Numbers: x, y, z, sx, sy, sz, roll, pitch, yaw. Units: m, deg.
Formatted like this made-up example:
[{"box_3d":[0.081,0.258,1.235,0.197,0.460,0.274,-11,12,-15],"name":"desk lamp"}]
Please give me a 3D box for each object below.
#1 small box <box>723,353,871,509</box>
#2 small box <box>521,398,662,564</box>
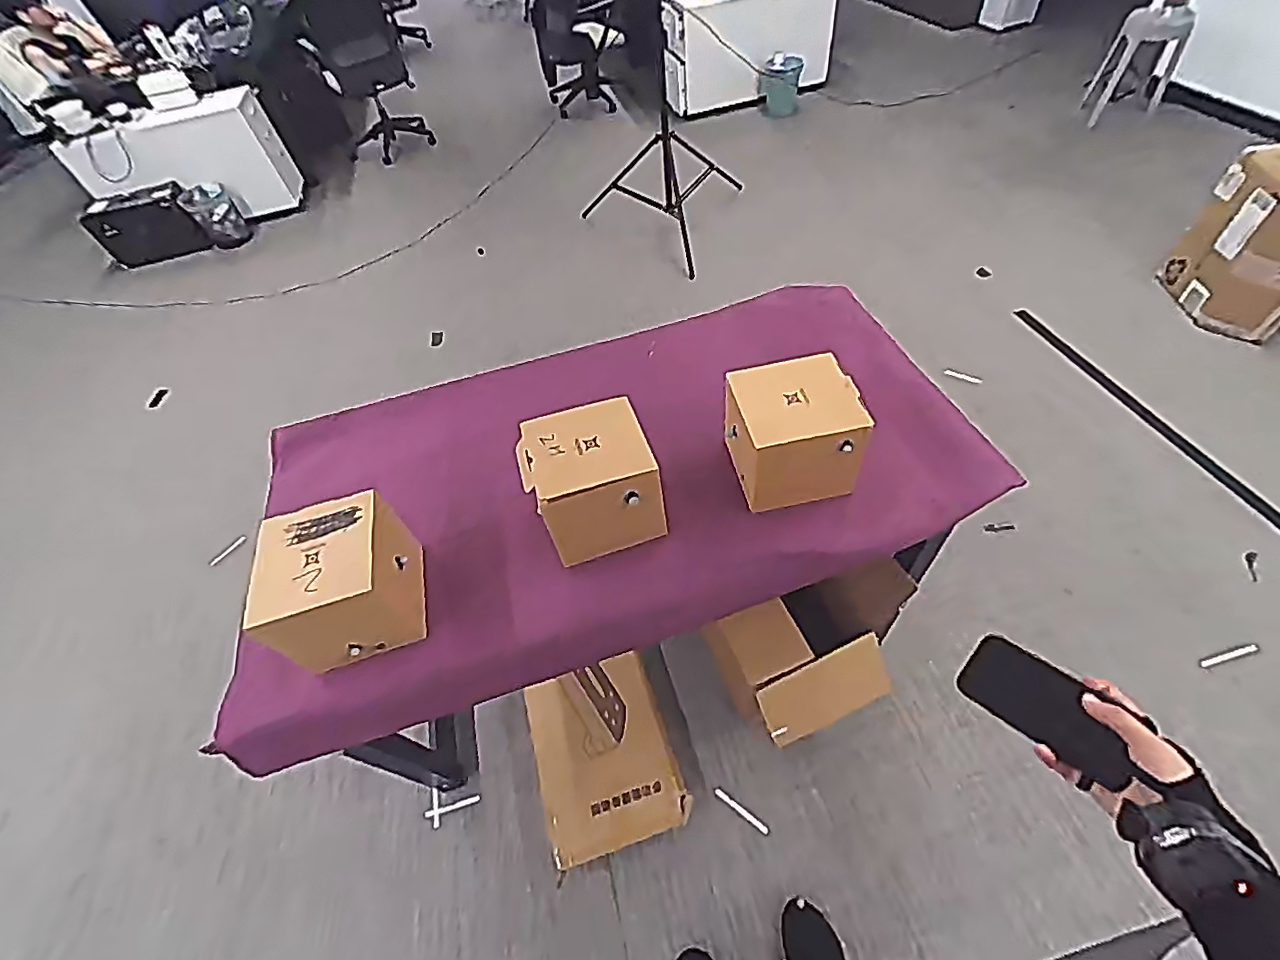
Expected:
[{"box_3d":[0.239,-0.072,0.867,0.179,0.176,0.168,-12,52,-1],"name":"small box"},{"box_3d":[-0.070,0.005,0.851,0.179,0.176,0.168,-18,50,-5],"name":"small box"}]
